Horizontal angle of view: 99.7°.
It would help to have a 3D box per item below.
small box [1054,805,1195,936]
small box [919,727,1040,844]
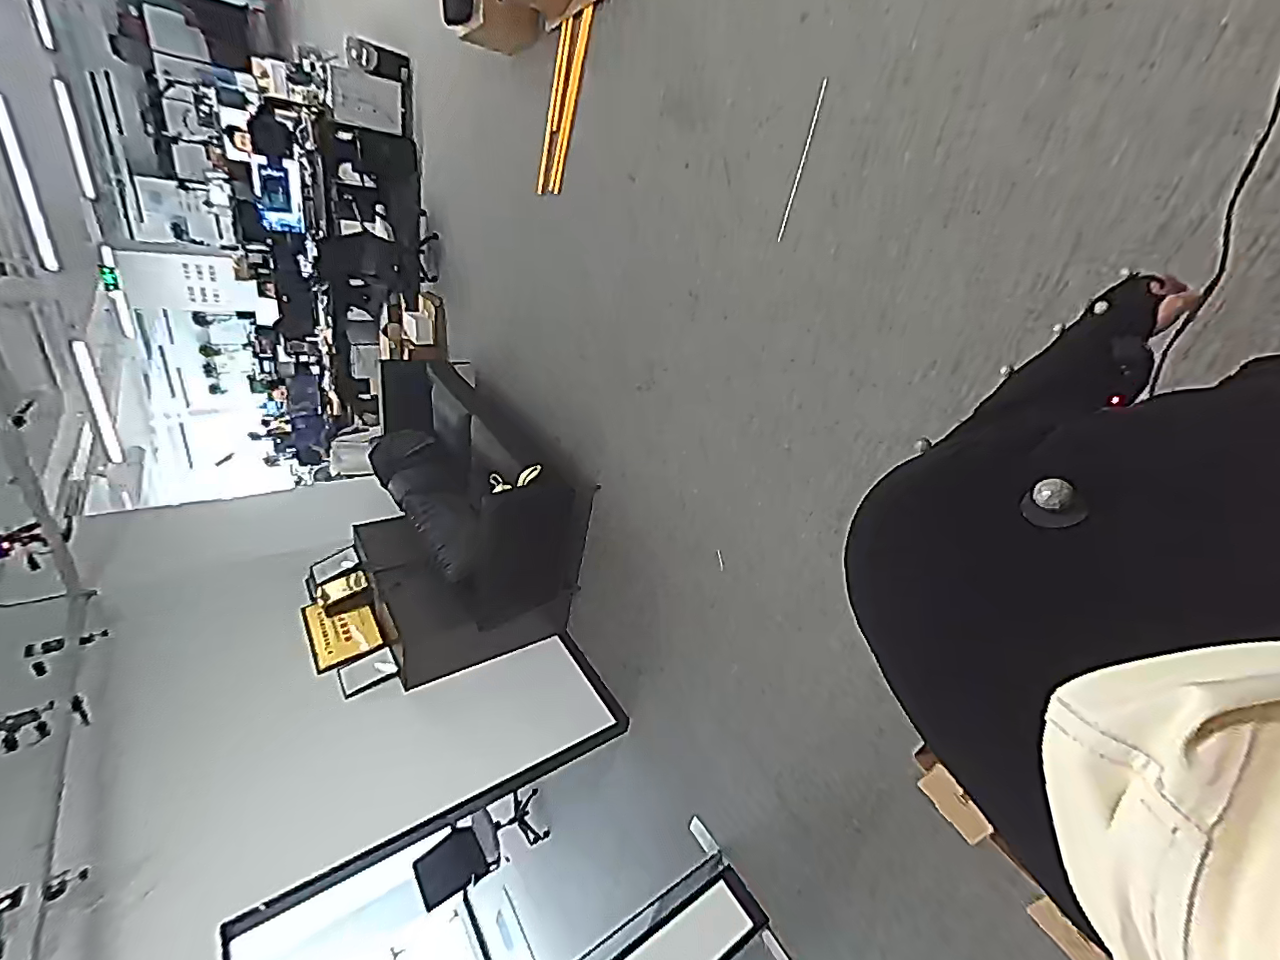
[{"bbox_3d":[1.150,0.919,1.282,0.168,0.176,0.179,47,135,37],"label":"small box"},{"bbox_3d":[0.858,0.765,1.366,0.168,0.176,0.179,49,136,36],"label":"small box"}]
